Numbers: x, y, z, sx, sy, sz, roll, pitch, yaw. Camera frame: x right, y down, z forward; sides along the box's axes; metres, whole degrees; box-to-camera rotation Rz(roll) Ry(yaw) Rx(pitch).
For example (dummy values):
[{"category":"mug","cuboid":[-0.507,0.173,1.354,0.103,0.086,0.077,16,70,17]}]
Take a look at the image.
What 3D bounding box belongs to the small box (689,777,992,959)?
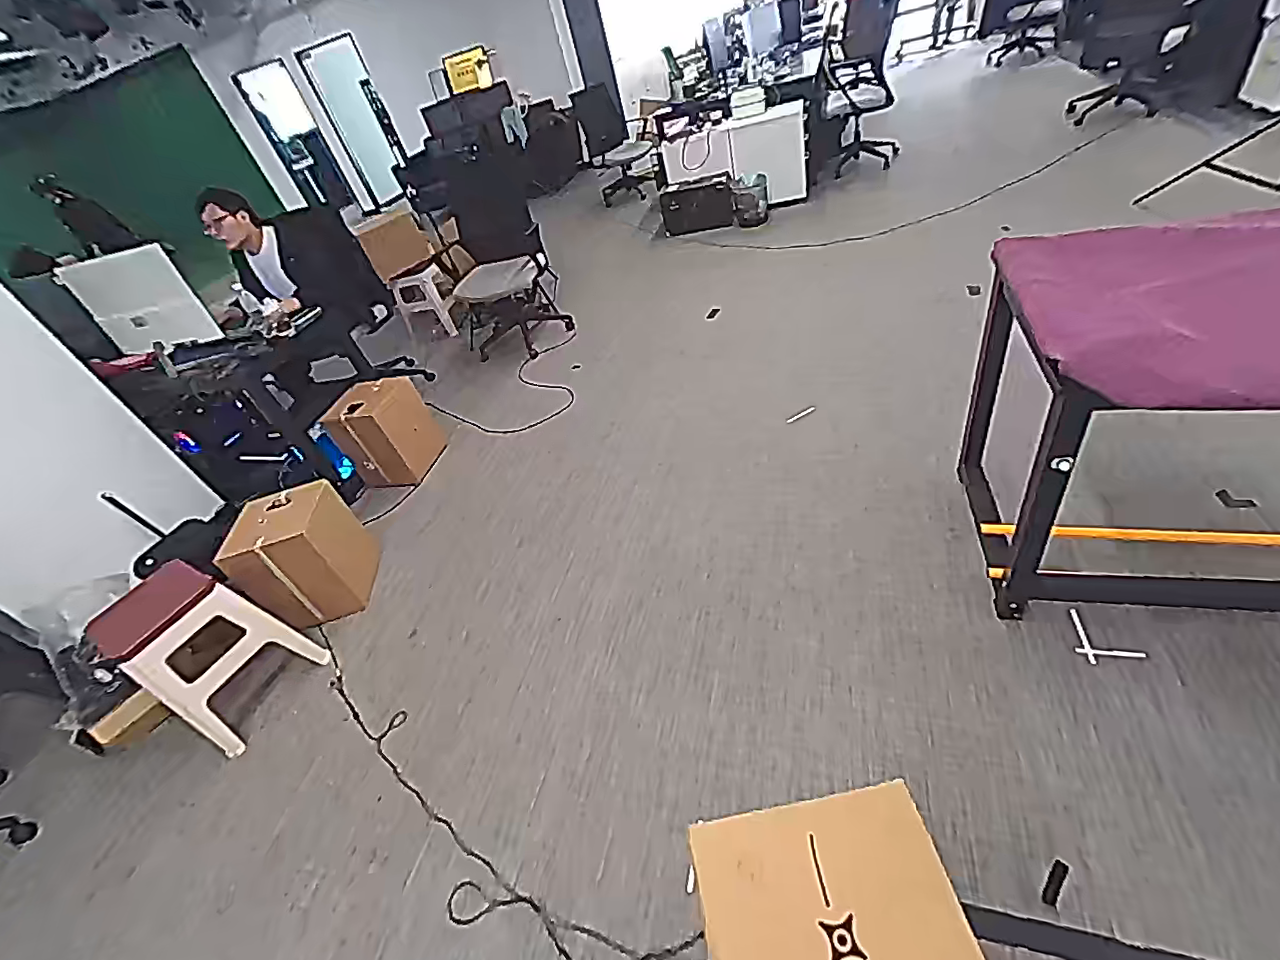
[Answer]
[{"category":"small box","cuboid":[0.135,0.342,0.388,0.168,0.176,0.179,-11,47,-3]}]
